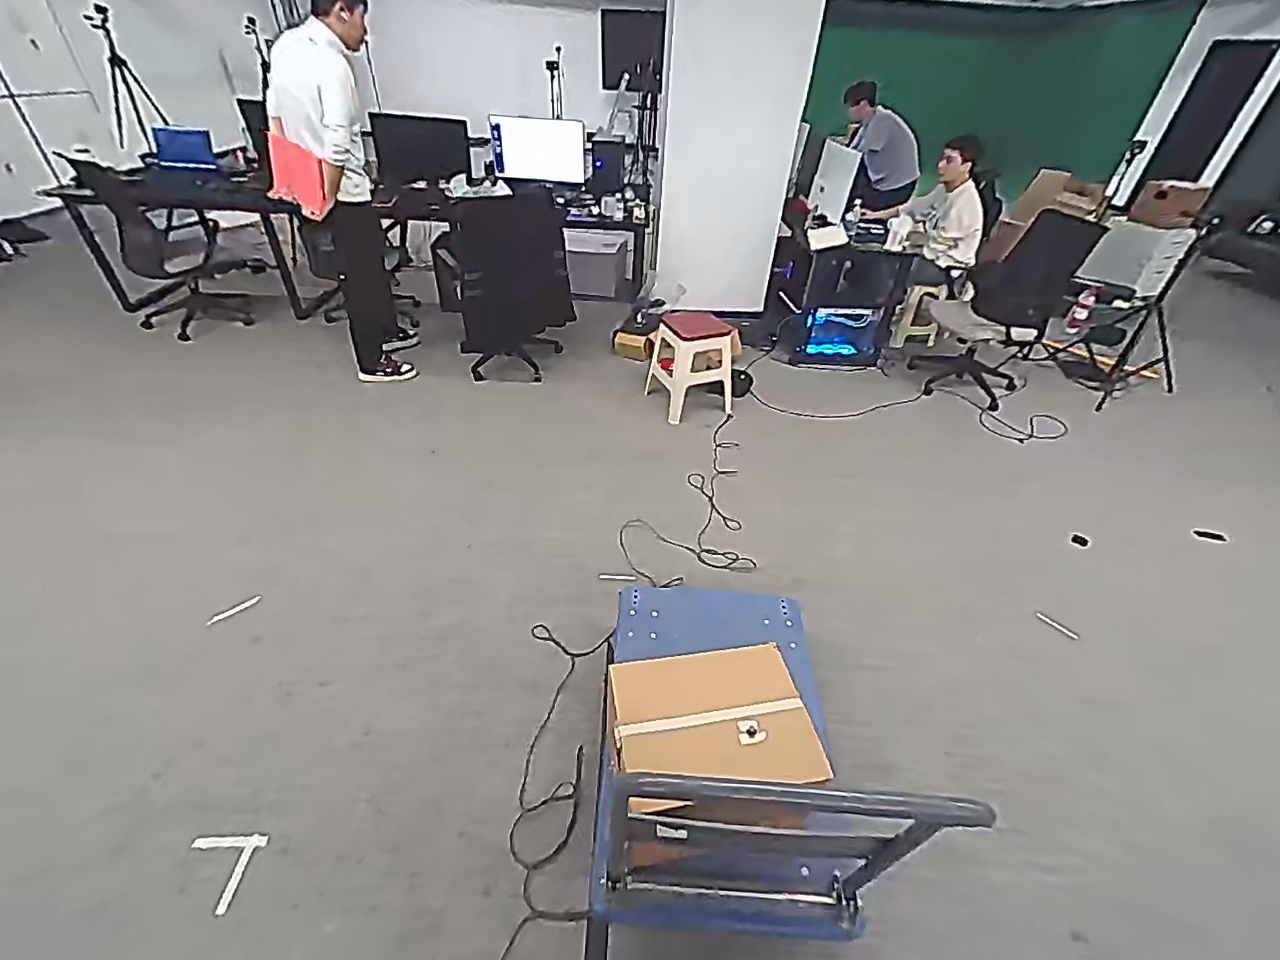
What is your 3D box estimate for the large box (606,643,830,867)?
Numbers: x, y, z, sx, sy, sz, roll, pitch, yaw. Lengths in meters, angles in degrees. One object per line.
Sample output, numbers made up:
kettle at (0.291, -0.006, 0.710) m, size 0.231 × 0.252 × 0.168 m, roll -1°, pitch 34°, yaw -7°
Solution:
large box at (0.145, 0.616, 1.232) m, size 0.408 × 0.320 × 0.320 m, roll -4°, pitch 40°, yaw -11°
